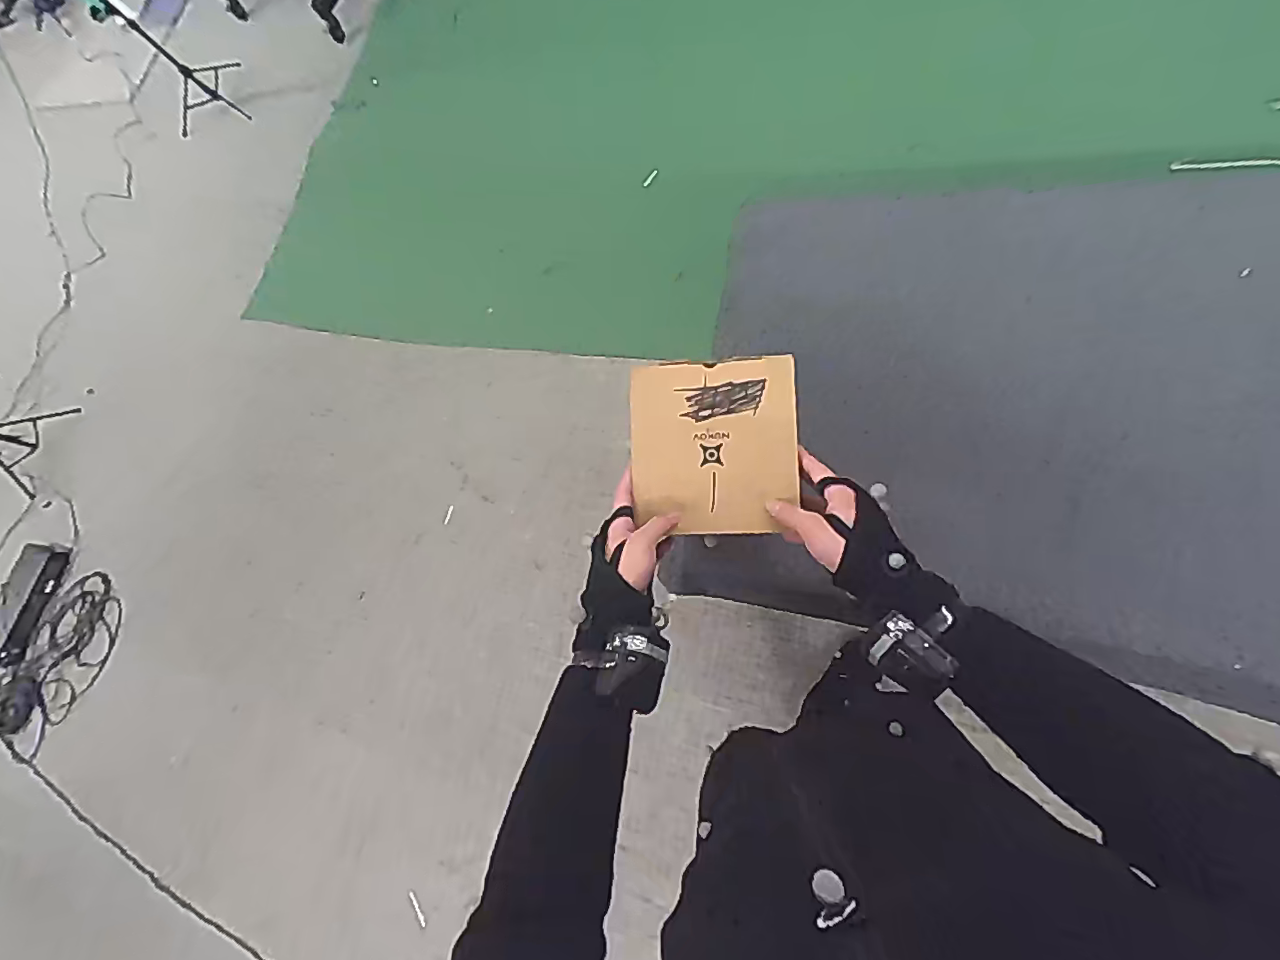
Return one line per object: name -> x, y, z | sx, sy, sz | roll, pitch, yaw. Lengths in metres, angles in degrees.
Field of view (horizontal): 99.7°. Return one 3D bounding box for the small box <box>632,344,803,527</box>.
small box -> 0.083, -0.037, 0.602 | 0.168, 0.176, 0.179 | -1, 86, 9
